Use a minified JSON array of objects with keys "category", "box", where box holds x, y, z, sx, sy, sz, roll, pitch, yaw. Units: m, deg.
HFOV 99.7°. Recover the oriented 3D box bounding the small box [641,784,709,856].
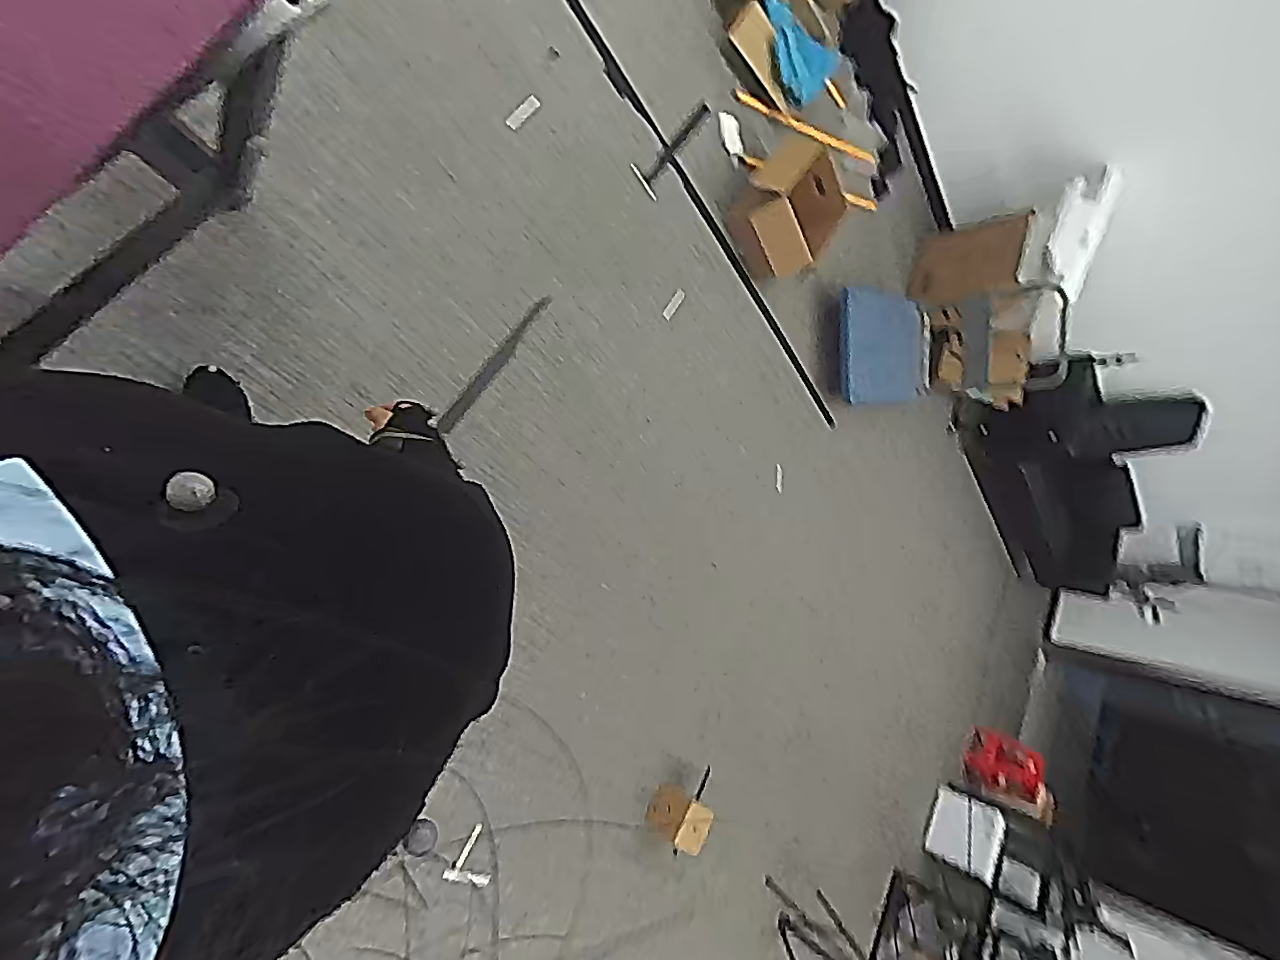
[{"category":"small box","box":[0.135,1.343,2.147,0.179,0.176,0.168,48,62,-33]}]
